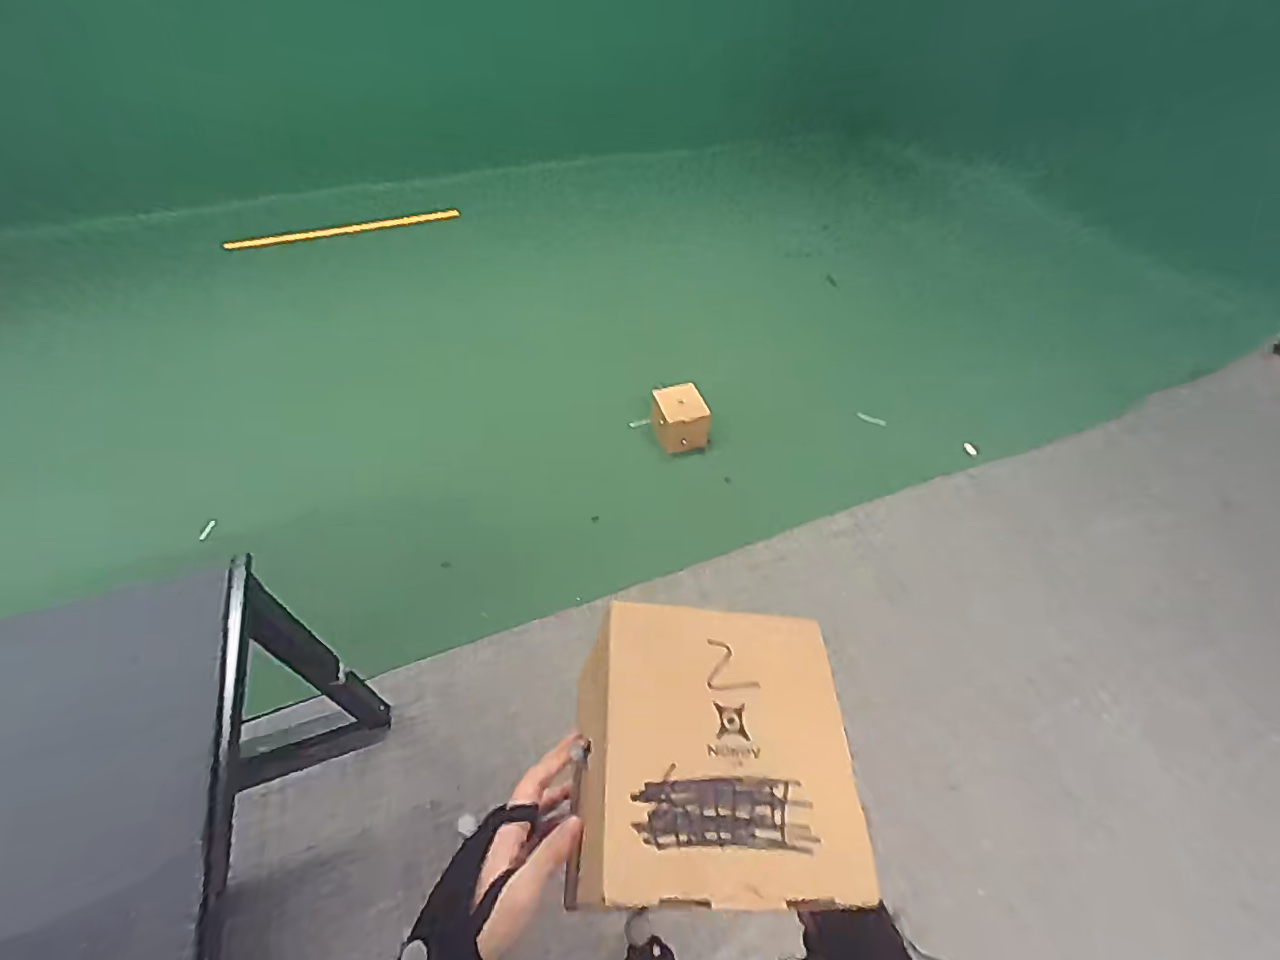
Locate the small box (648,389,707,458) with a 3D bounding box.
[{"bbox_3d":[0.132,-0.212,2.024,0.168,0.176,0.179,-14,52,-14],"label":"small box"}]
